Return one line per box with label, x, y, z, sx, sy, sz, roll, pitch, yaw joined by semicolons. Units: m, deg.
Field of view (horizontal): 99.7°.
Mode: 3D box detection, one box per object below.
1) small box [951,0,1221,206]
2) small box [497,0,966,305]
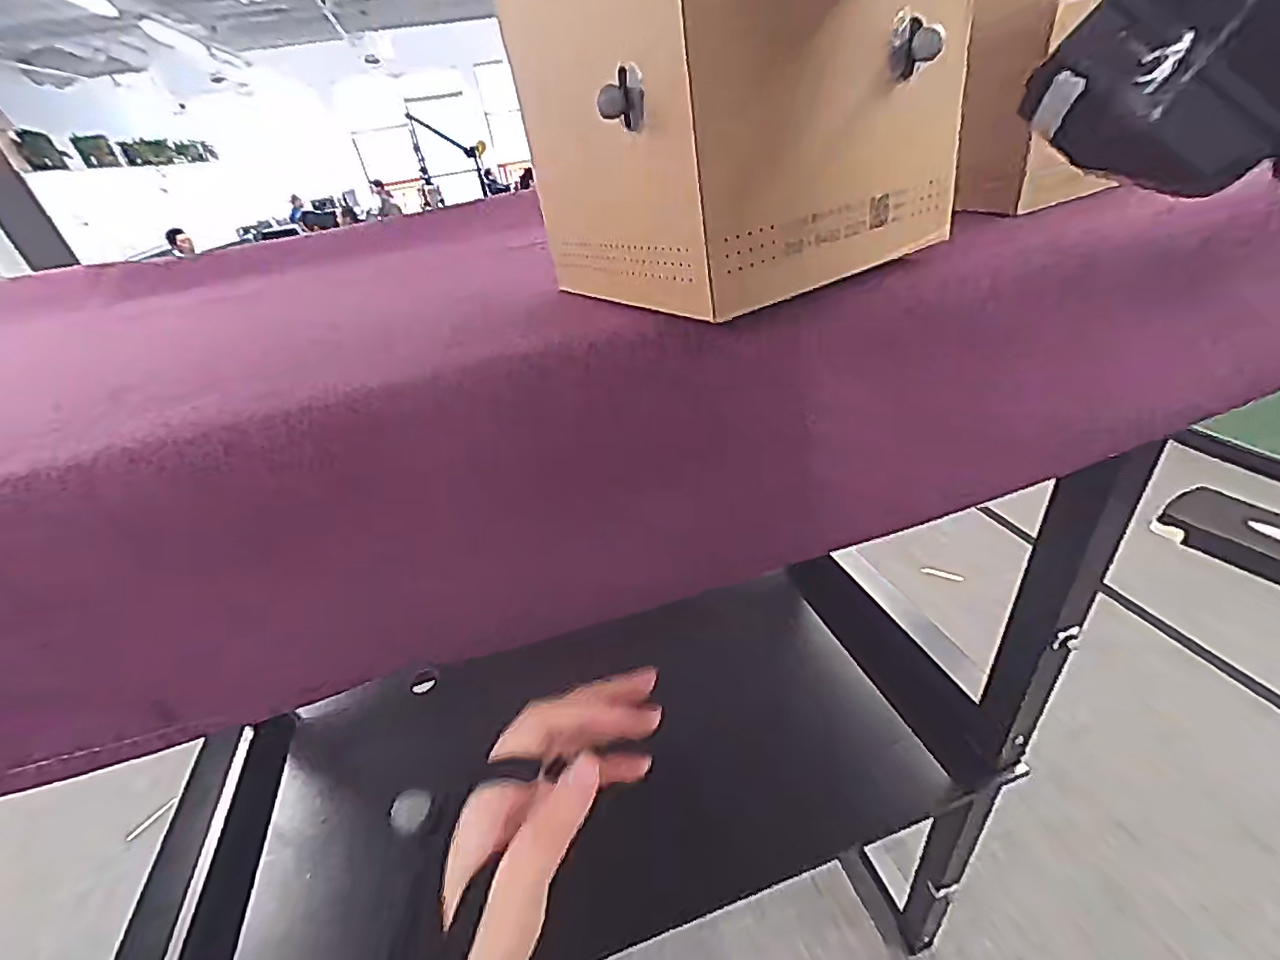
small box;0.273;-0.311;0.403;0.168;0.176;0.179;-21;34;-15
small box;0.047;-0.199;0.287;0.168;0.176;0.179;-25;32;-23
